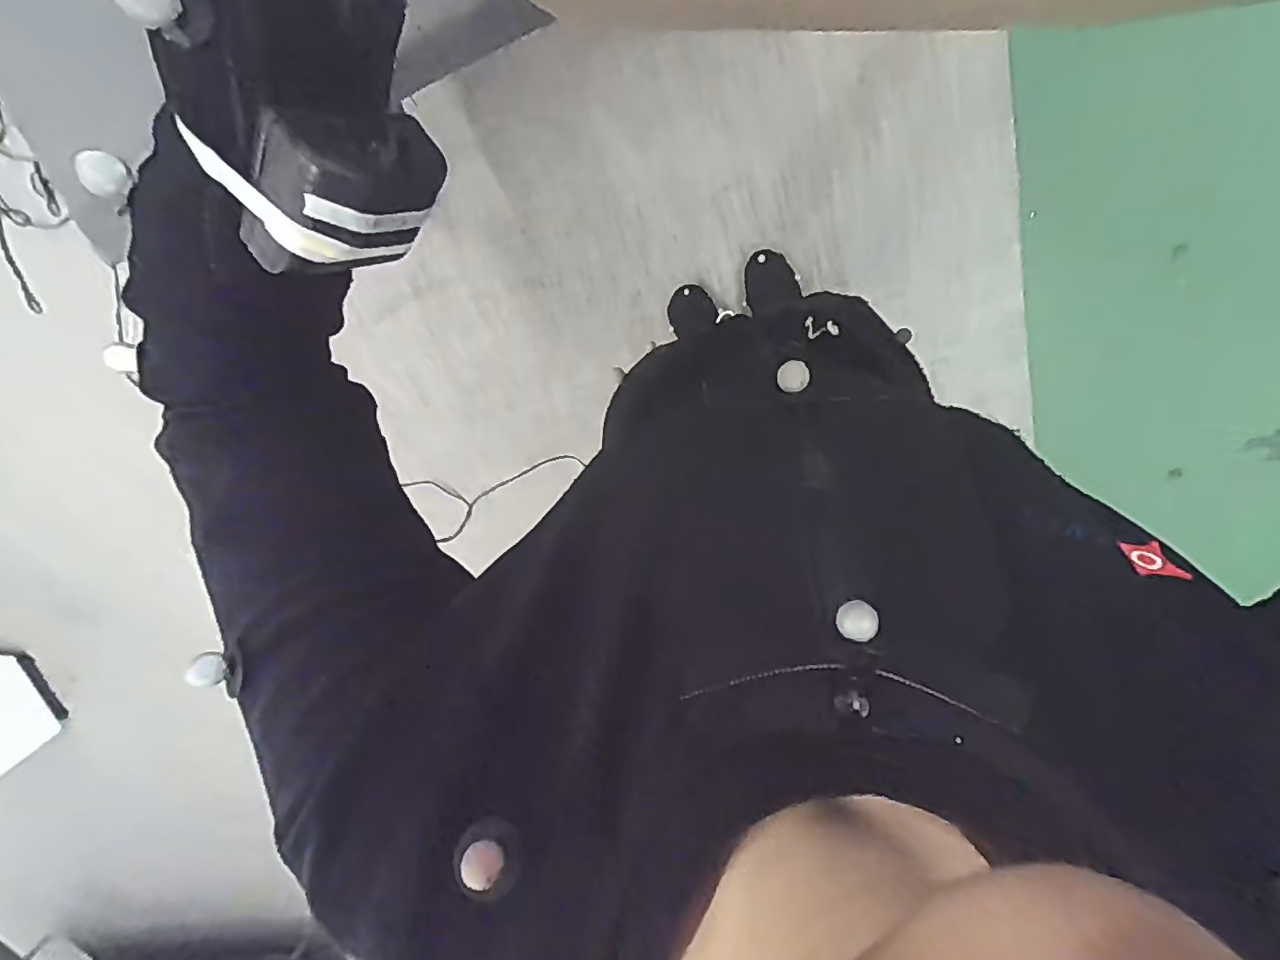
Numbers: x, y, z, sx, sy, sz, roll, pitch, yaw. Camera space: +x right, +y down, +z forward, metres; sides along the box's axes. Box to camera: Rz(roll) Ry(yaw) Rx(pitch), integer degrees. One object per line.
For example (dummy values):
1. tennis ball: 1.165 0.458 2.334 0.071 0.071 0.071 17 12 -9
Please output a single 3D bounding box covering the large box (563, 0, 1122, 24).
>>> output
1. large box: 0.138 -0.383 0.188 0.408 0.320 0.320 1 126 2
